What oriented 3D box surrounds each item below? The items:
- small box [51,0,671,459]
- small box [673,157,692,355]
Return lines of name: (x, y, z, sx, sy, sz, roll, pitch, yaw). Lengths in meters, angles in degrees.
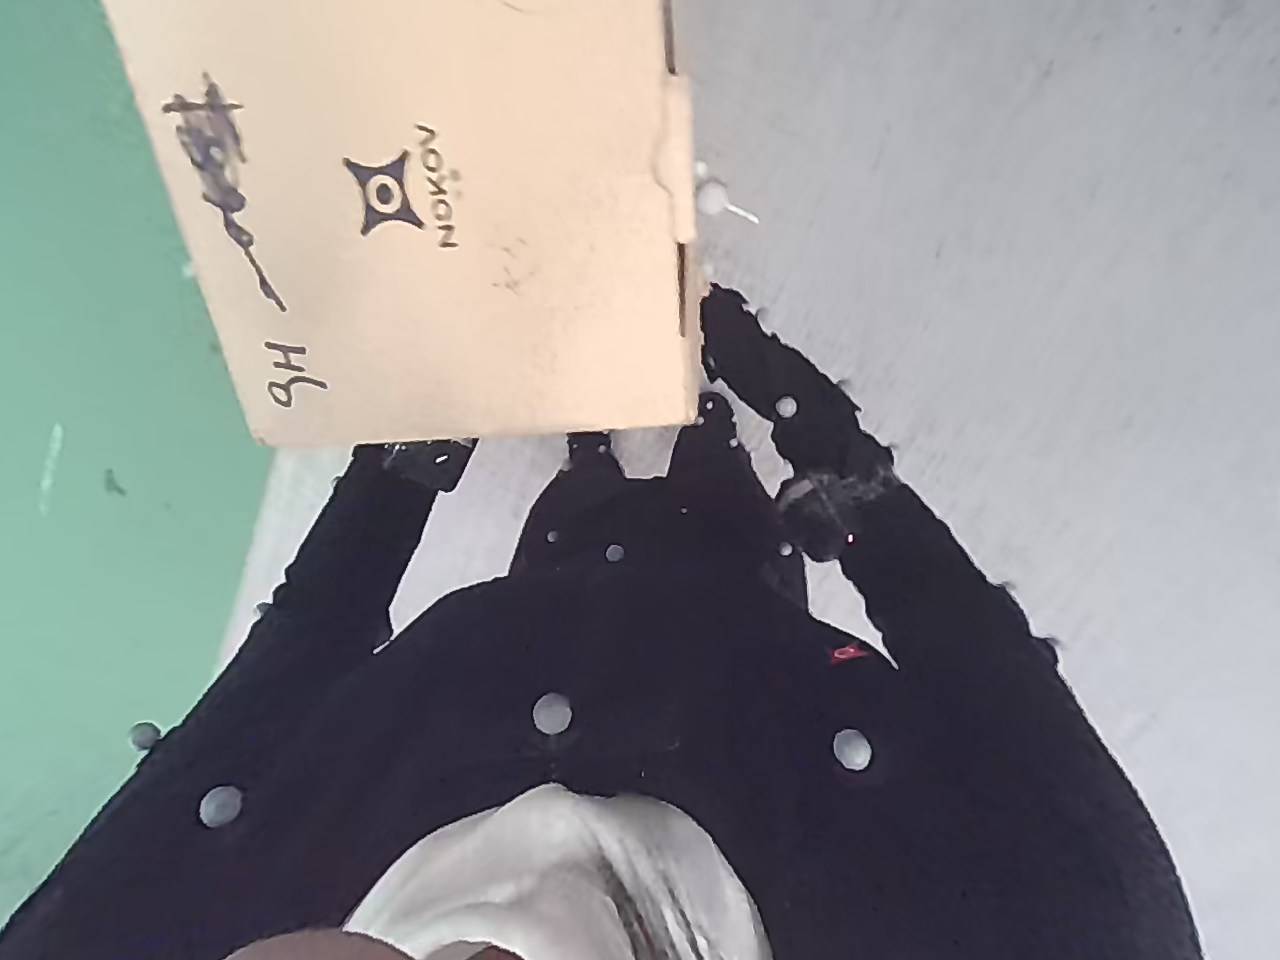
small box: (-0.078, -0.116, 0.250, 0.179, 0.176, 0.168, -2, 110, 9)
small box: (-0.037, -0.218, 0.557, 0.179, 0.176, 0.168, 0, 111, 7)
